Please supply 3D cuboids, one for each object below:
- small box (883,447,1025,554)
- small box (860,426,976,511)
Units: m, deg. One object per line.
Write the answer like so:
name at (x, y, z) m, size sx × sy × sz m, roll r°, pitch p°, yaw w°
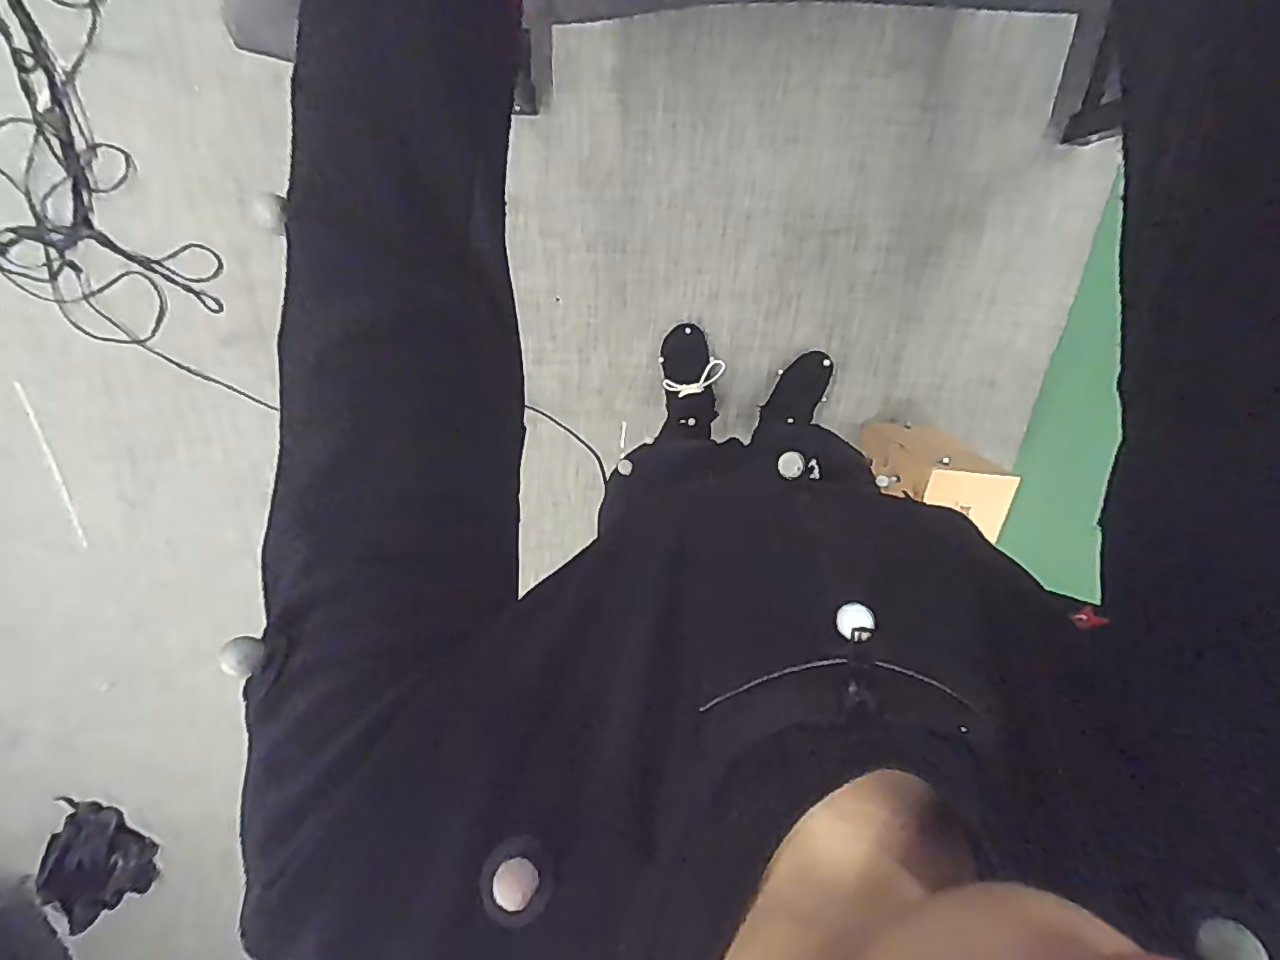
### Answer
small box at (0.640, 0.037, 1.126) m, size 0.179 × 0.176 × 0.168 m, roll 5°, pitch 112°, yaw 0°
small box at (0.642, -0.026, 1.277) m, size 0.179 × 0.176 × 0.168 m, roll 4°, pitch 112°, yaw 1°
